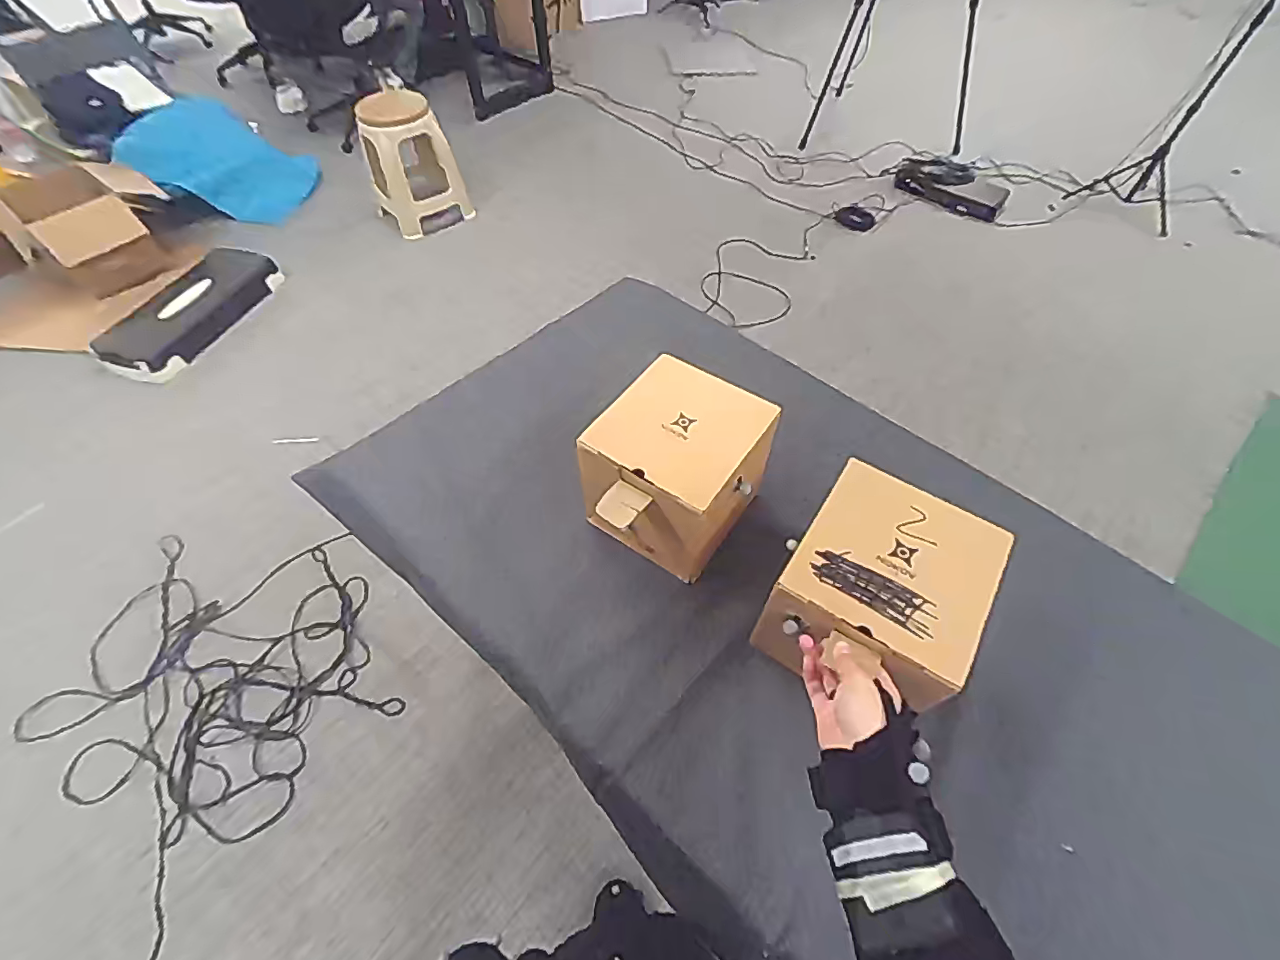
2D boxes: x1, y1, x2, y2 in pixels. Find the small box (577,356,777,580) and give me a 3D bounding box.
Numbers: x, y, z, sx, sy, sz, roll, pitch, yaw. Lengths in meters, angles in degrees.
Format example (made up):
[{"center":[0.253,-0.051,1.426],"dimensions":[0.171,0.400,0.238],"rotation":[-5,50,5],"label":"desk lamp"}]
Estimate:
[{"center":[0.042,-0.013,0.665],"dimensions":[0.168,0.176,0.179],"rotation":[29,60,19],"label":"small box"}]
